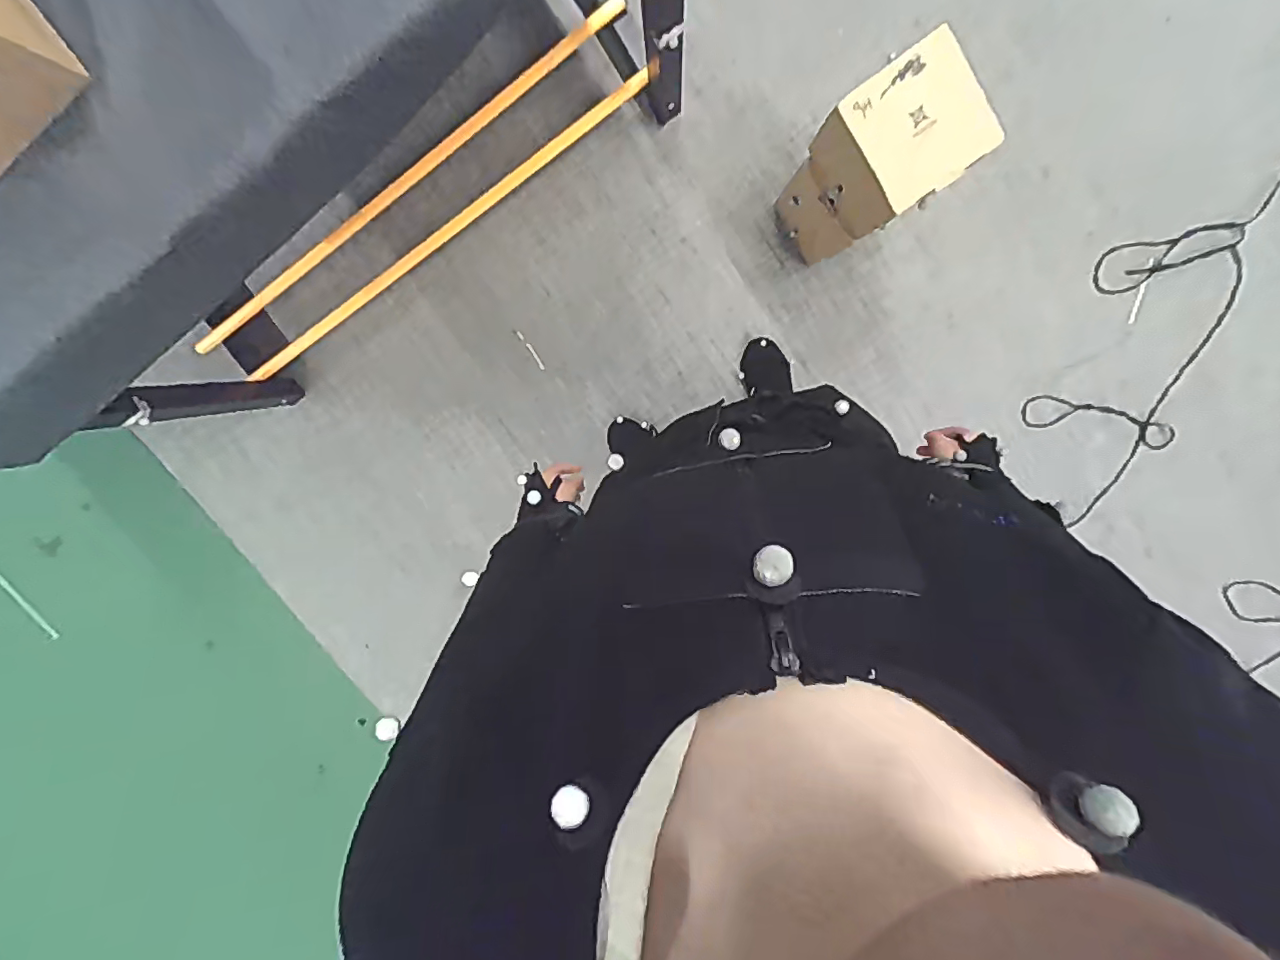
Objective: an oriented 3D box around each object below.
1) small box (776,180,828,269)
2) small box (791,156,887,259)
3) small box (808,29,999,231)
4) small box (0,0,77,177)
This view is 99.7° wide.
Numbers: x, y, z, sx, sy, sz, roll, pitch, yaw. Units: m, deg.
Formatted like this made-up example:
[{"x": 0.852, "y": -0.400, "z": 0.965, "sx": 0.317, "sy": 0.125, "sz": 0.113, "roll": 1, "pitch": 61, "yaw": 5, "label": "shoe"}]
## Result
[{"x": 0.410, "y": -0.574, "z": 1.135, "sx": 0.179, "sy": 0.176, "sz": 0.168, "roll": -32, "pitch": 98, "yaw": 8, "label": "small box"}, {"x": 0.393, "y": -0.530, "z": 0.978, "sx": 0.179, "sy": 0.176, "sz": 0.168, "roll": -35, "pitch": 98, "yaw": 9, "label": "small box"}, {"x": 0.383, "y": -0.502, "z": 0.815, "sx": 0.168, "sy": 0.176, "sz": 0.179, "roll": -33, "pitch": 99, "yaw": 8, "label": "small box"}, {"x": -0.688, "y": -0.418, "z": 0.489, "sx": 0.179, "sy": 0.176, "sz": 0.168, "roll": -34, "pitch": 97, "yaw": 10, "label": "small box"}]
